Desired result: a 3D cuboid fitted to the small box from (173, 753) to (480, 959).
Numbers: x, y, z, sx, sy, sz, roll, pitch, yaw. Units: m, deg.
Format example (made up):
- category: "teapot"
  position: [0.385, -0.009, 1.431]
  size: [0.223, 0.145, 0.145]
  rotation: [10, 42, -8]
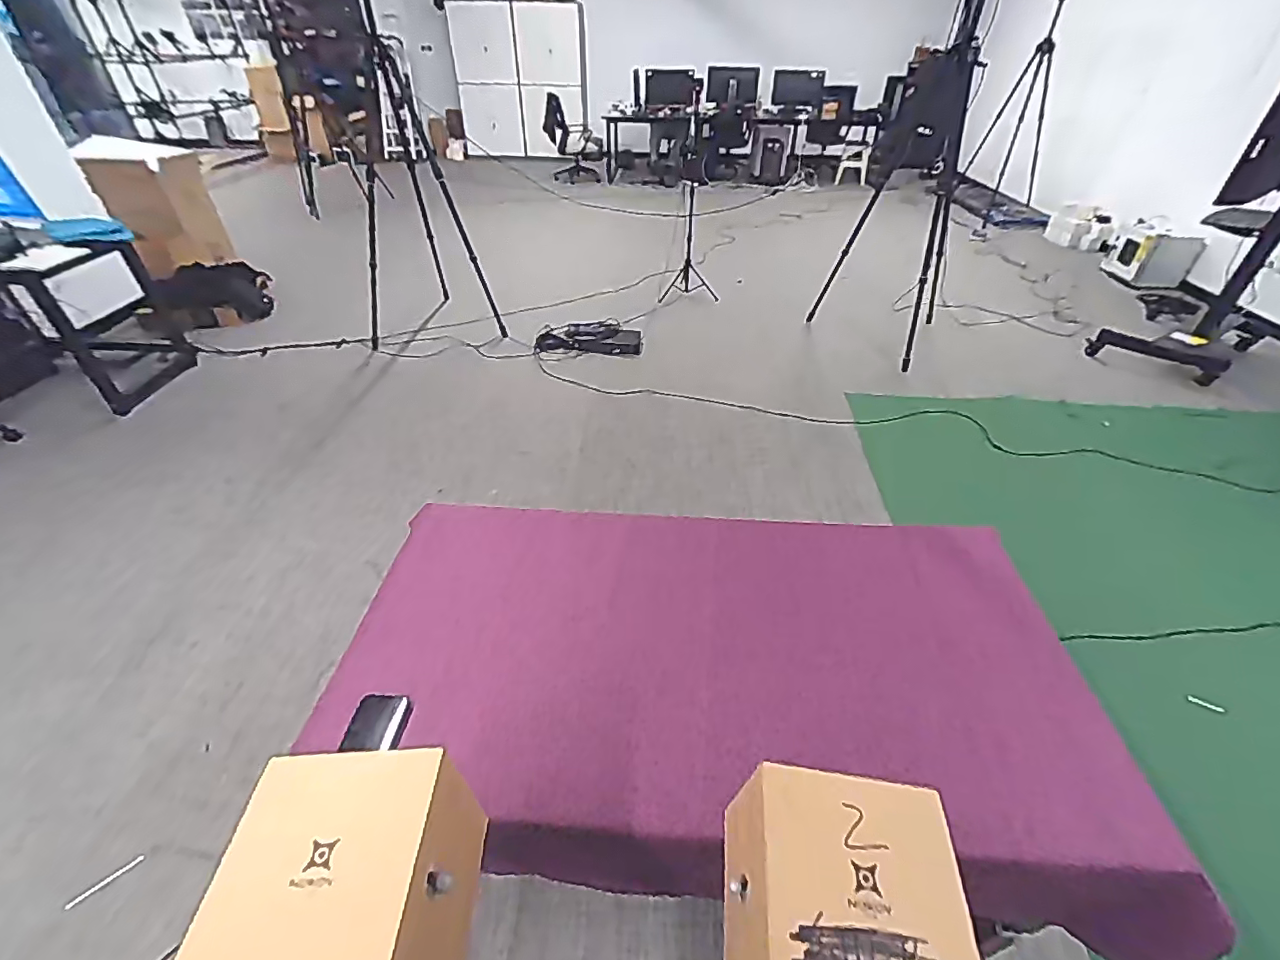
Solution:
- category: "small box"
  position: [-0.254, 0.371, 0.485]
  size: [0.168, 0.176, 0.179]
  rotation: [-3, 40, 1]
